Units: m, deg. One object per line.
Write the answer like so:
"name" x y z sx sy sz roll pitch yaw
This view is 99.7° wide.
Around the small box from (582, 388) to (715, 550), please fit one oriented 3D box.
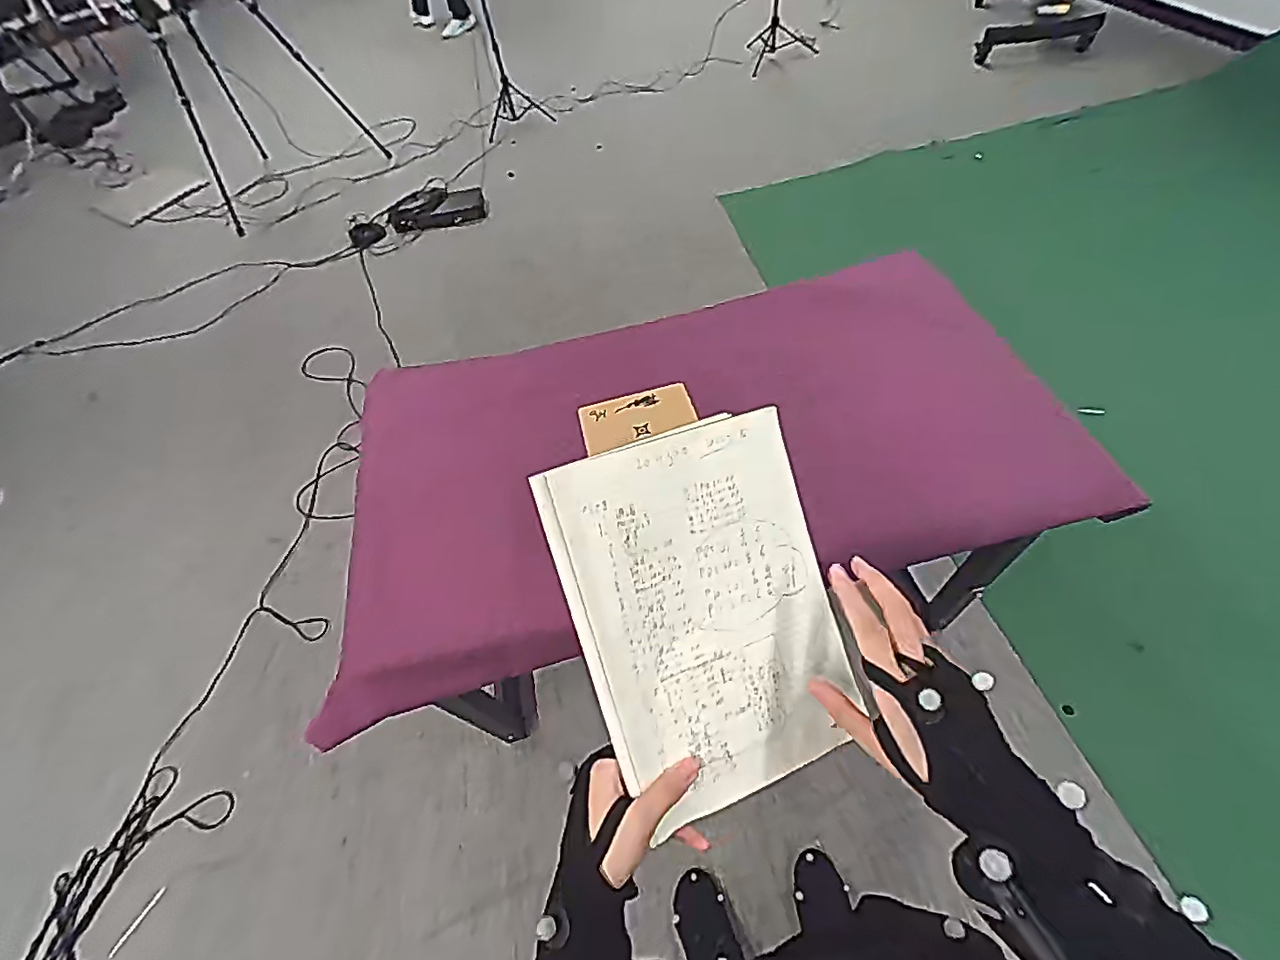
"small box" 0.017 -0.008 0.836 0.168 0.176 0.179 -14 55 -2
